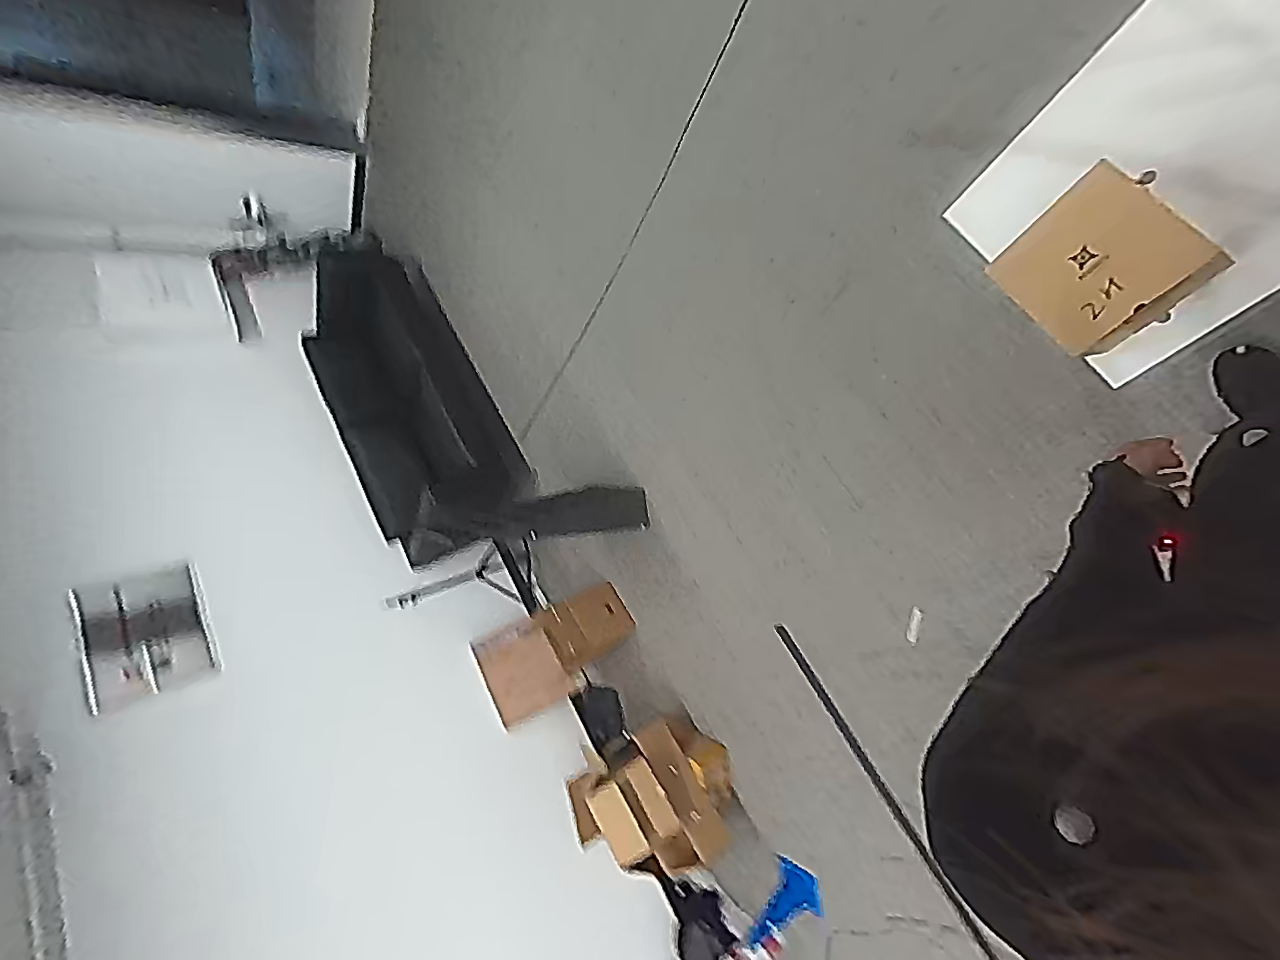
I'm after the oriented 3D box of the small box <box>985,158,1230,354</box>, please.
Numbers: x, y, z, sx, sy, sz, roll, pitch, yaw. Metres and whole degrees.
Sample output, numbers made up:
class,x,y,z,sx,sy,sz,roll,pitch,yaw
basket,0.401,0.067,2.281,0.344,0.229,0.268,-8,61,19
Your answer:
class,x,y,z,sx,sy,sz,roll,pitch,yaw
small box,0.621,-0.290,0.726,0.179,0.176,0.168,59,141,20
